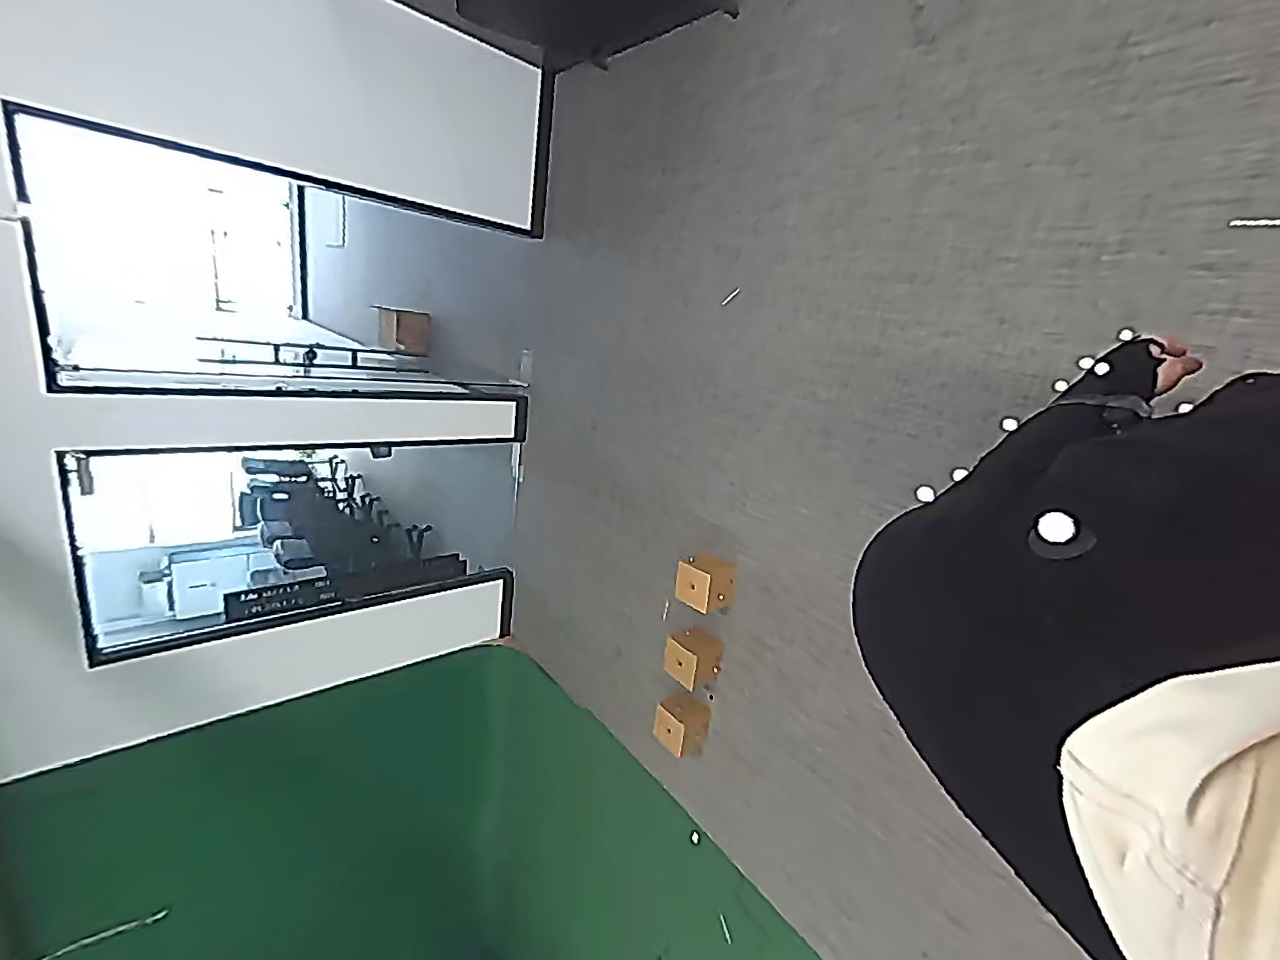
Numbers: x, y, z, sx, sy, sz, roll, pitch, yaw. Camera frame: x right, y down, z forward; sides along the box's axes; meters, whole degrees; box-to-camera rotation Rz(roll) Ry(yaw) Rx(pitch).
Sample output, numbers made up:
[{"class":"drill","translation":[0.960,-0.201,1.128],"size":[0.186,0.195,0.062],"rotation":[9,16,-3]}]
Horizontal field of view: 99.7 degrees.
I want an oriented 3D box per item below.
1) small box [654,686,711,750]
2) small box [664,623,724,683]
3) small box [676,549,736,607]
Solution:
[{"class":"small box","translation":[0.188,1.041,2.382],"size":[0.179,0.176,0.168],"rotation":[24,112,46]},{"class":"small box","translation":[0.229,0.727,2.297],"size":[0.179,0.176,0.168],"rotation":[24,113,45]},{"class":"small box","translation":[0.272,0.392,2.204],"size":[0.179,0.176,0.168],"rotation":[20,110,47]}]
